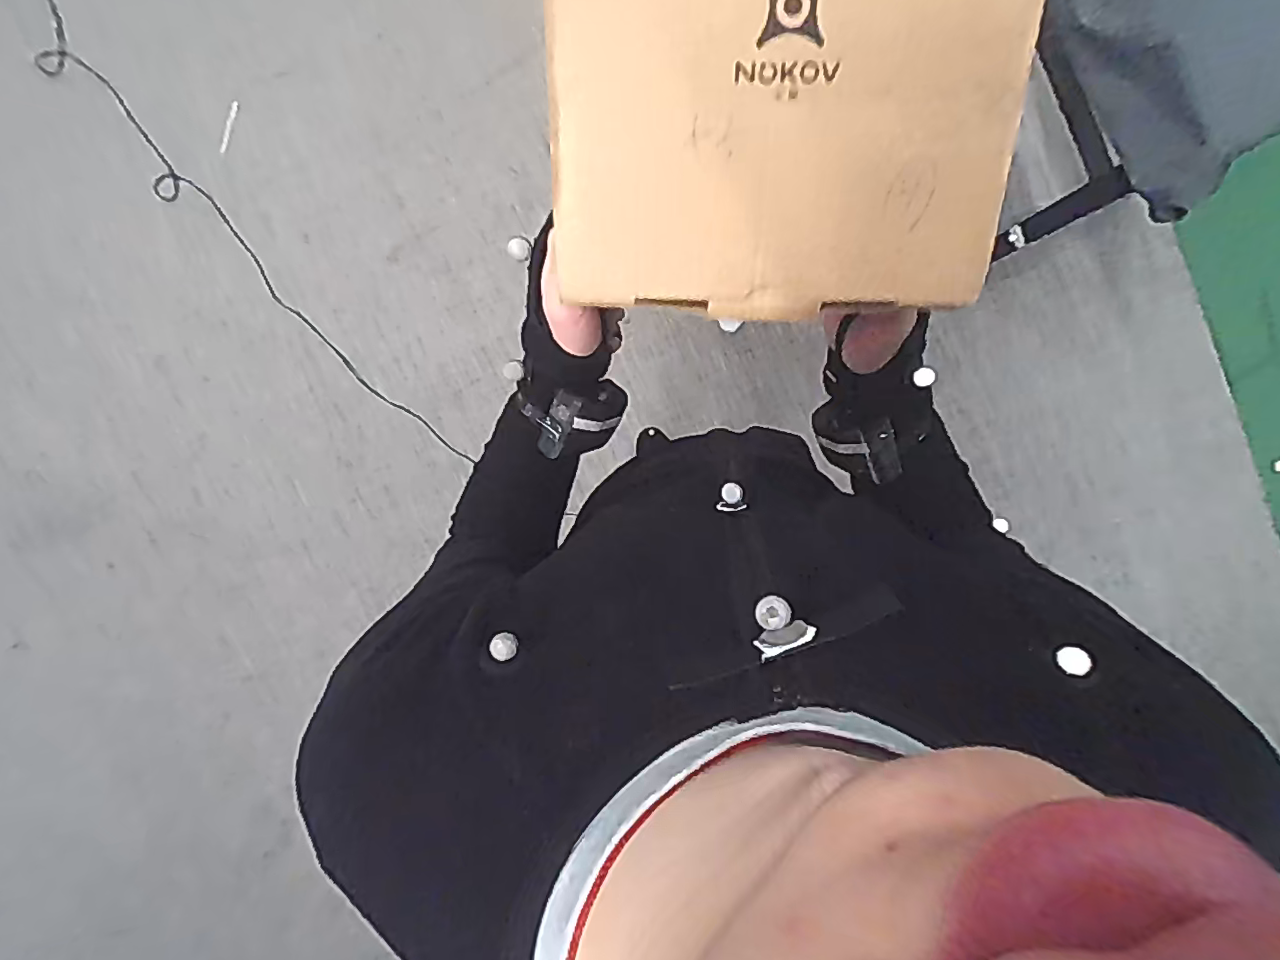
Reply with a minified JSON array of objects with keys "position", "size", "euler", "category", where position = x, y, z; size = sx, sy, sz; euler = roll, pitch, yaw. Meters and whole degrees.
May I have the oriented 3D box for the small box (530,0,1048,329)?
[{"position":[0.047,-0.172,0.250],"size":[0.168,0.176,0.179],"euler":[1,113,0],"category":"small box"}]
